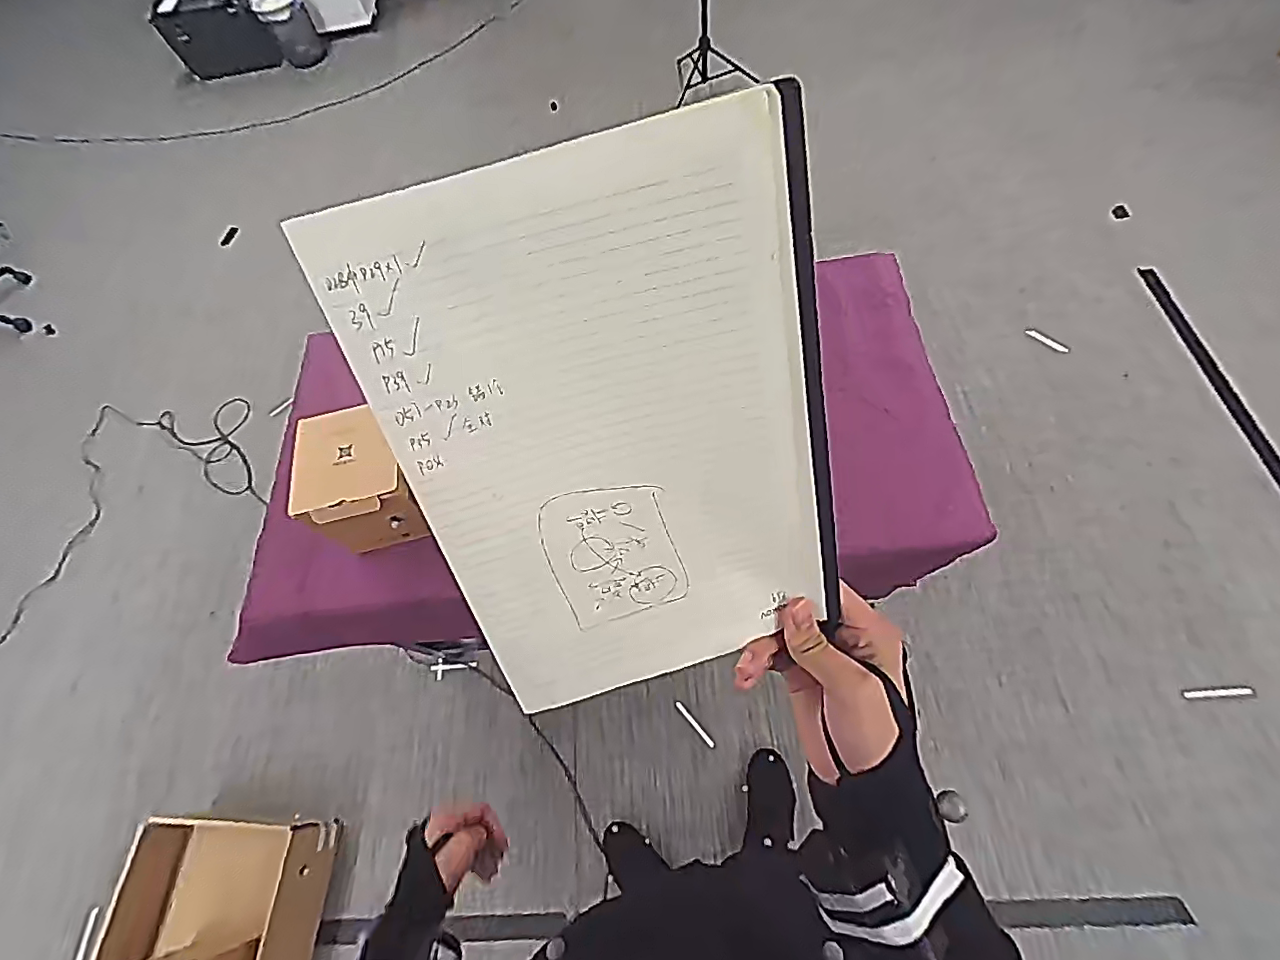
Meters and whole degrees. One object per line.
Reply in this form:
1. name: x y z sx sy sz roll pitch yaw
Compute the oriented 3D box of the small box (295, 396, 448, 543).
1. small box: -0.431 -0.008 0.895 0.168 0.176 0.179 -13 63 0
